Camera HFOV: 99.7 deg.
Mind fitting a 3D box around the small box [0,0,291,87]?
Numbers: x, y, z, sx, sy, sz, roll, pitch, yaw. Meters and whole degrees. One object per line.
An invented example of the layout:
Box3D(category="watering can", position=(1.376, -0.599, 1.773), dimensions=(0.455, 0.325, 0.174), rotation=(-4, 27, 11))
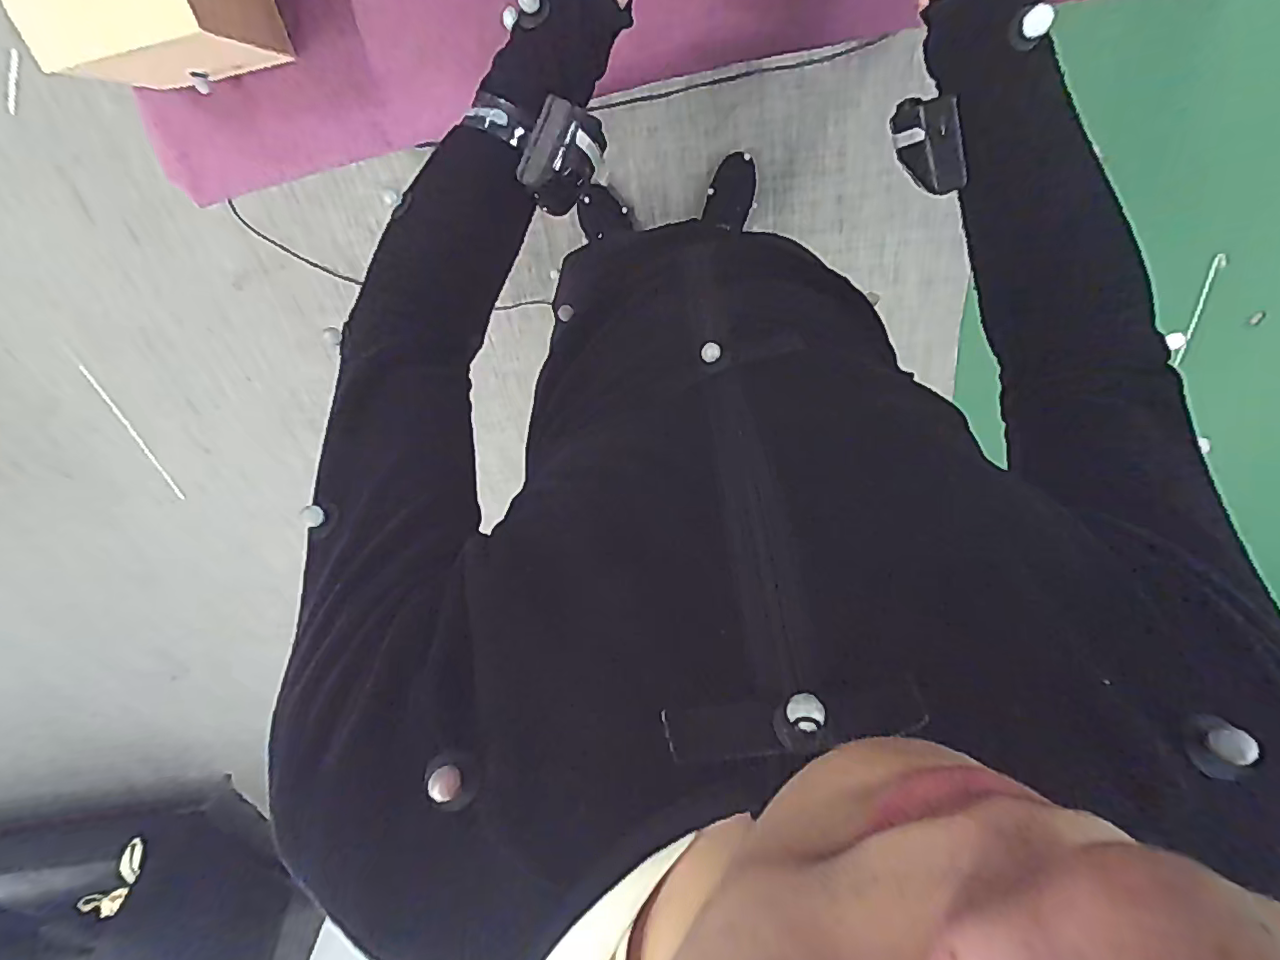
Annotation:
Box3D(category="small box", position=(-0.494, -0.511, 0.524), dimensions=(0.168, 0.176, 0.179), rotation=(-9, 121, 5))
